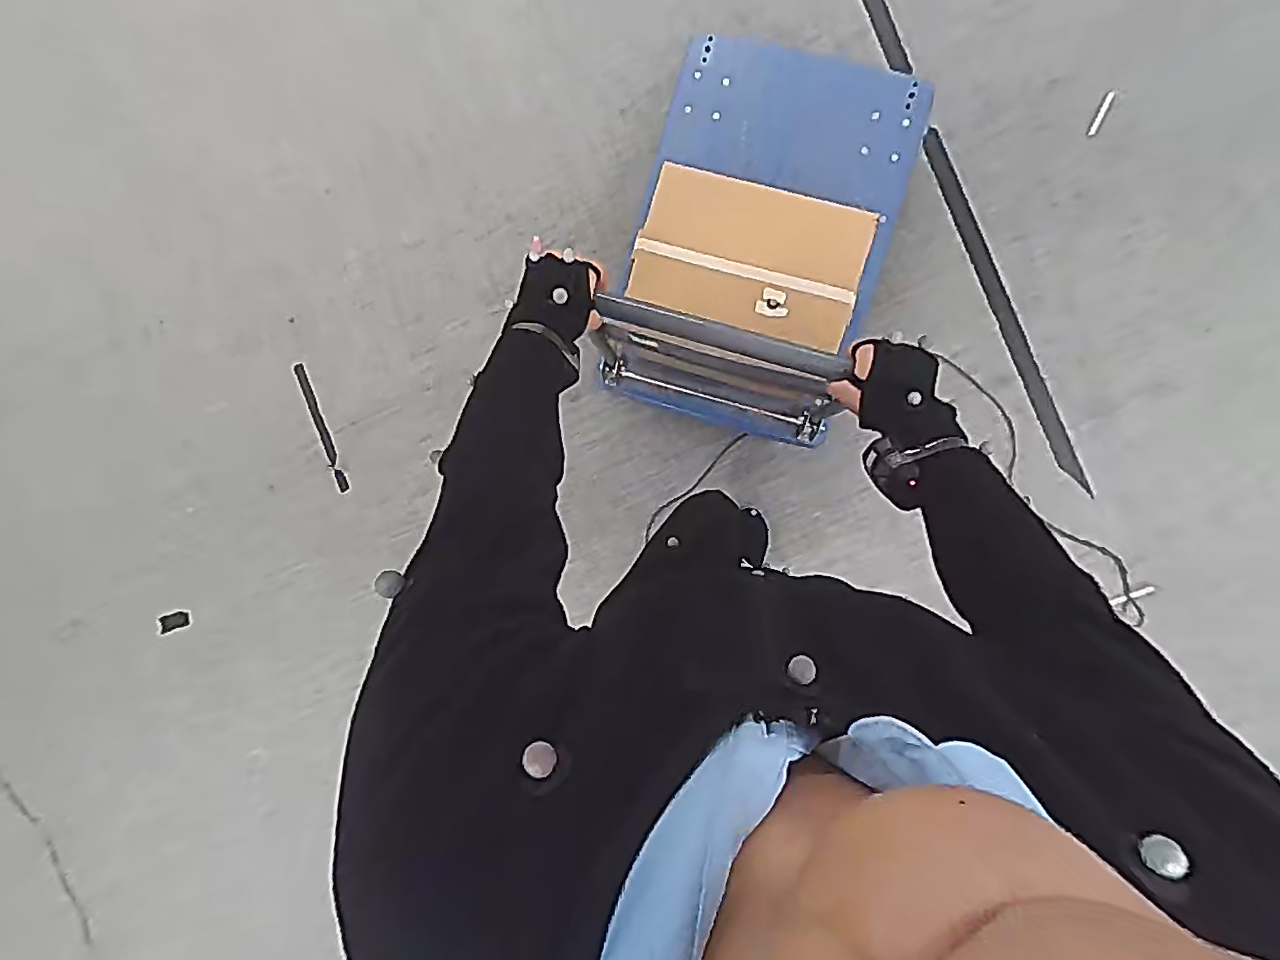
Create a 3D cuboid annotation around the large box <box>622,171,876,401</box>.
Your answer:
[{"bbox_3d":[0.205,-0.380,1.139,0.408,0.320,0.320,17,94,4],"label":"large box"}]
